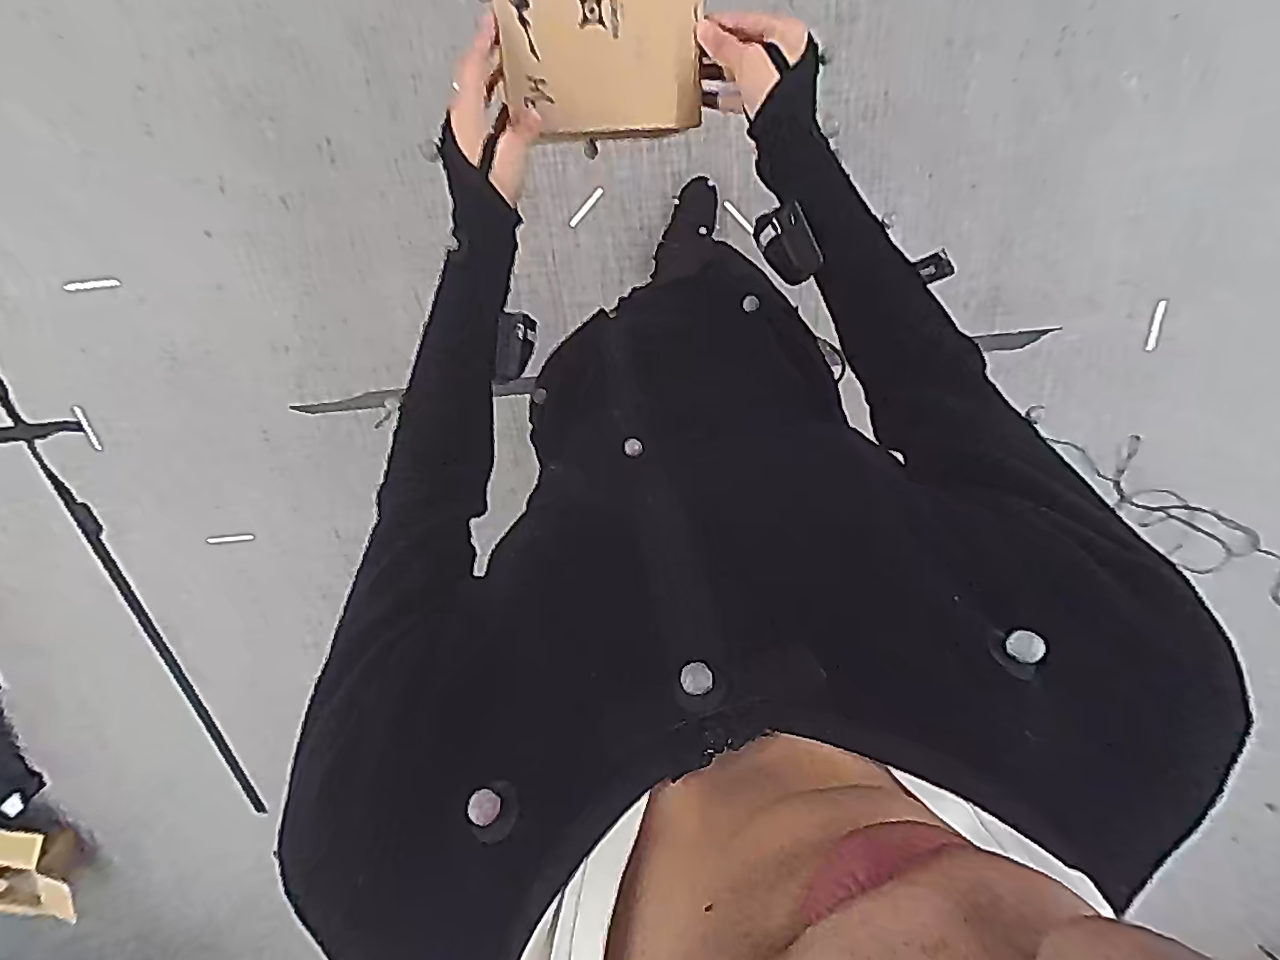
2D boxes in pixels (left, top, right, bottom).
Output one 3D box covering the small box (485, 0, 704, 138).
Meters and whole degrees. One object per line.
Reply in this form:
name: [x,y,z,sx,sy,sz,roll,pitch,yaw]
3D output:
small box: [-0.050,-0.425,0.506,0.179,0.176,0.168,-9,120,-11]
